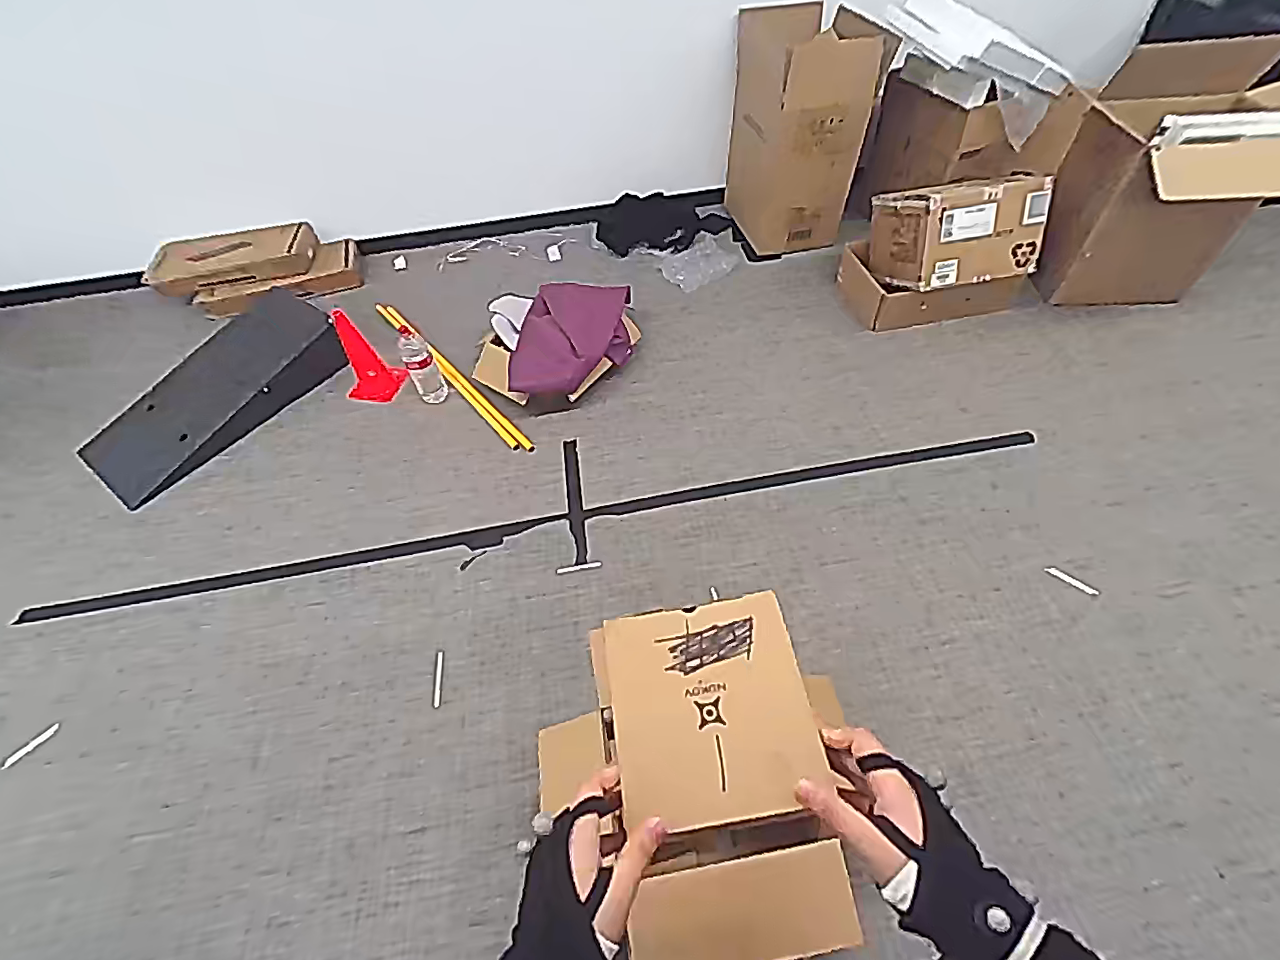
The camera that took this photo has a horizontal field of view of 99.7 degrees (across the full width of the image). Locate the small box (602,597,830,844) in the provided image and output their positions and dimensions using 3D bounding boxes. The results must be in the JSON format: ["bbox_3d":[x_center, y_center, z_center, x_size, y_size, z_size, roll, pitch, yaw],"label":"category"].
[{"bbox_3d":[0.061,0.238,0.525,0.168,0.176,0.179,-10,56,0],"label":"small box"}]
